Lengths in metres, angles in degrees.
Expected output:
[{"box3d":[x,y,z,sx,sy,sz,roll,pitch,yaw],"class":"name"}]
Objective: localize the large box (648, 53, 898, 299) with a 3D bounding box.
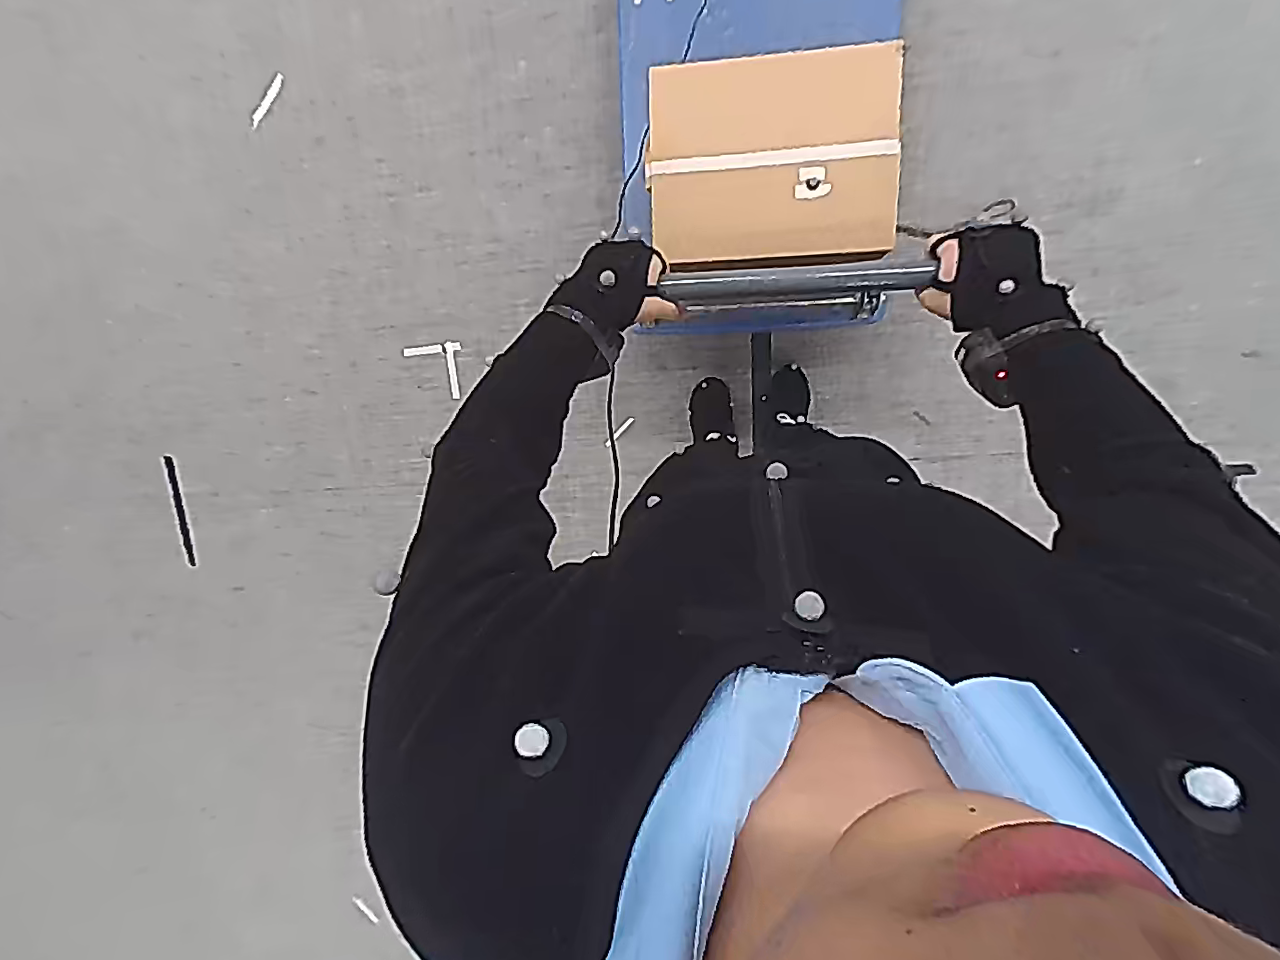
[{"box3d":[0.232,-0.544,1.045,0.408,0.320,0.320,0,100,7],"class":"large box"}]
